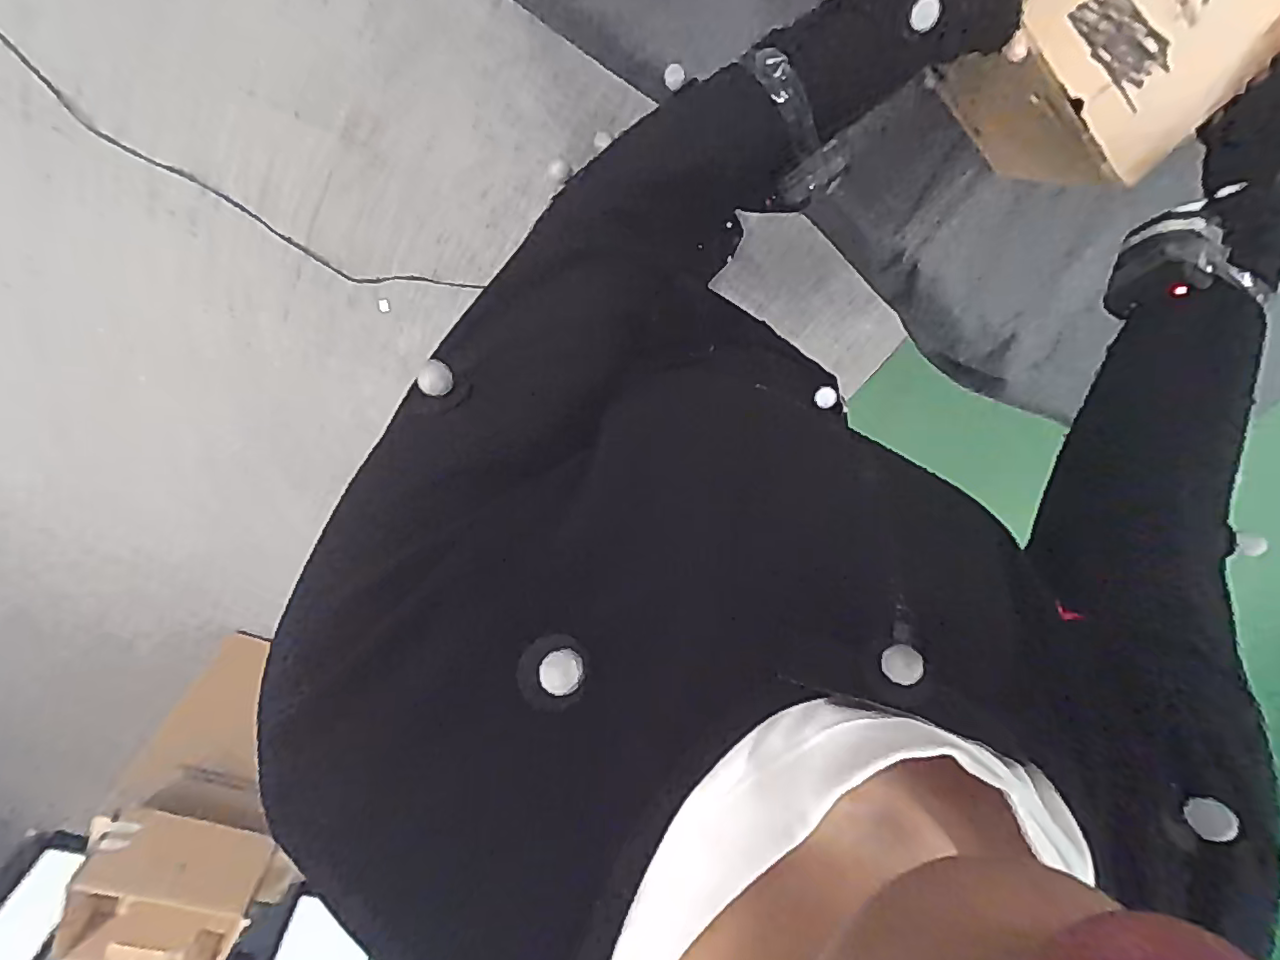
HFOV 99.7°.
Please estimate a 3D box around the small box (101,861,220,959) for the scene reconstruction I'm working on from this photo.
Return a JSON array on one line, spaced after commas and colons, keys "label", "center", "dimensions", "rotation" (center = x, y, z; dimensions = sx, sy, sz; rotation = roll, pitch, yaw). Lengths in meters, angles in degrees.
[{"label": "small box", "center": [-1.305, 1.175, 1.476], "dimensions": [0.179, 0.176, 0.168], "rotation": [28, 121, -17]}]
